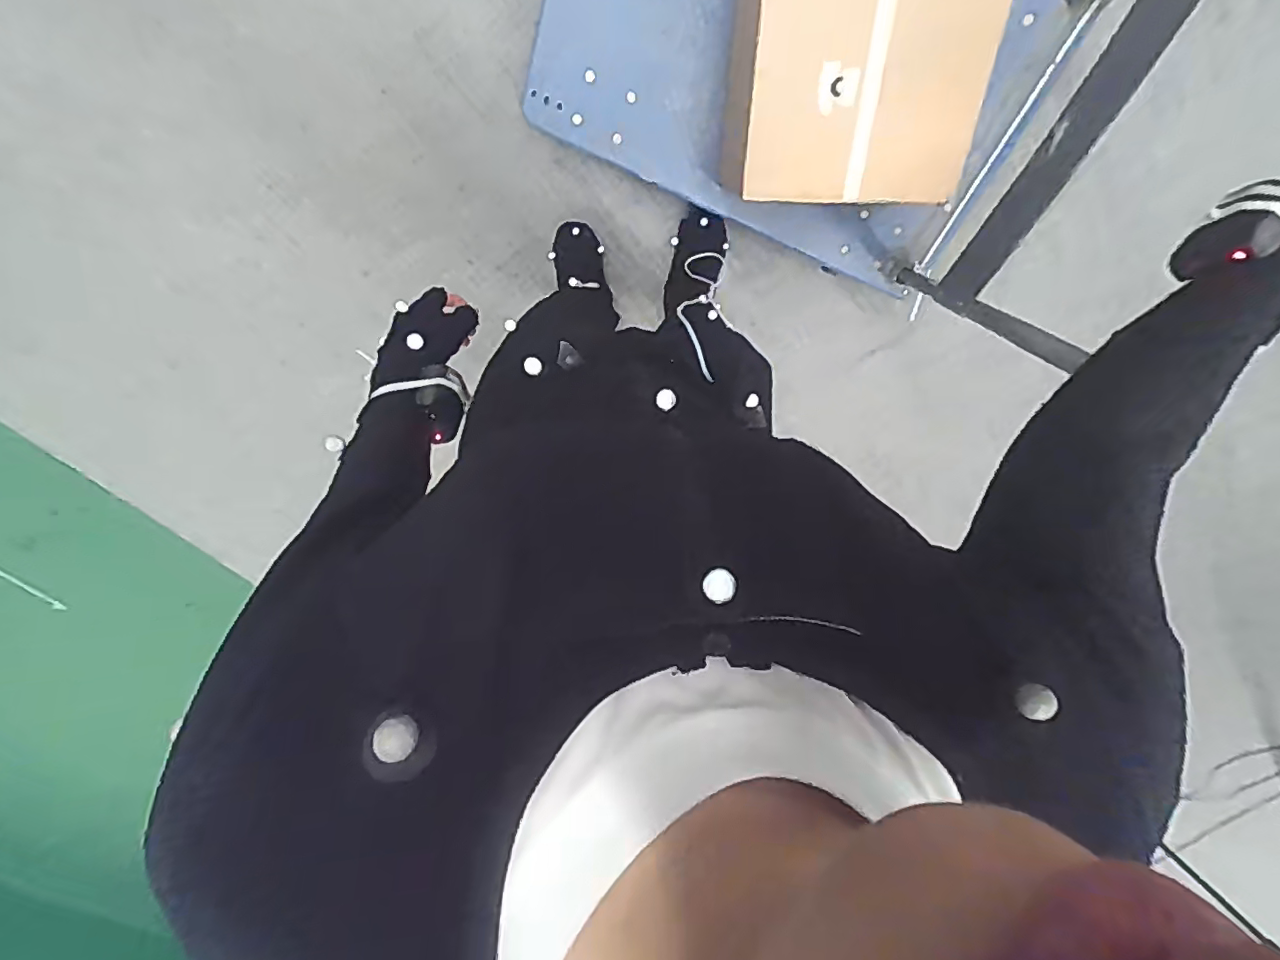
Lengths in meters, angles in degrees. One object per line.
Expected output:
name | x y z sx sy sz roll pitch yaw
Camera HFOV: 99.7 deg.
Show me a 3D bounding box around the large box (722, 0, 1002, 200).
large box | 0.307 -0.666 0.823 0.320 0.320 0.408 1 122 1
